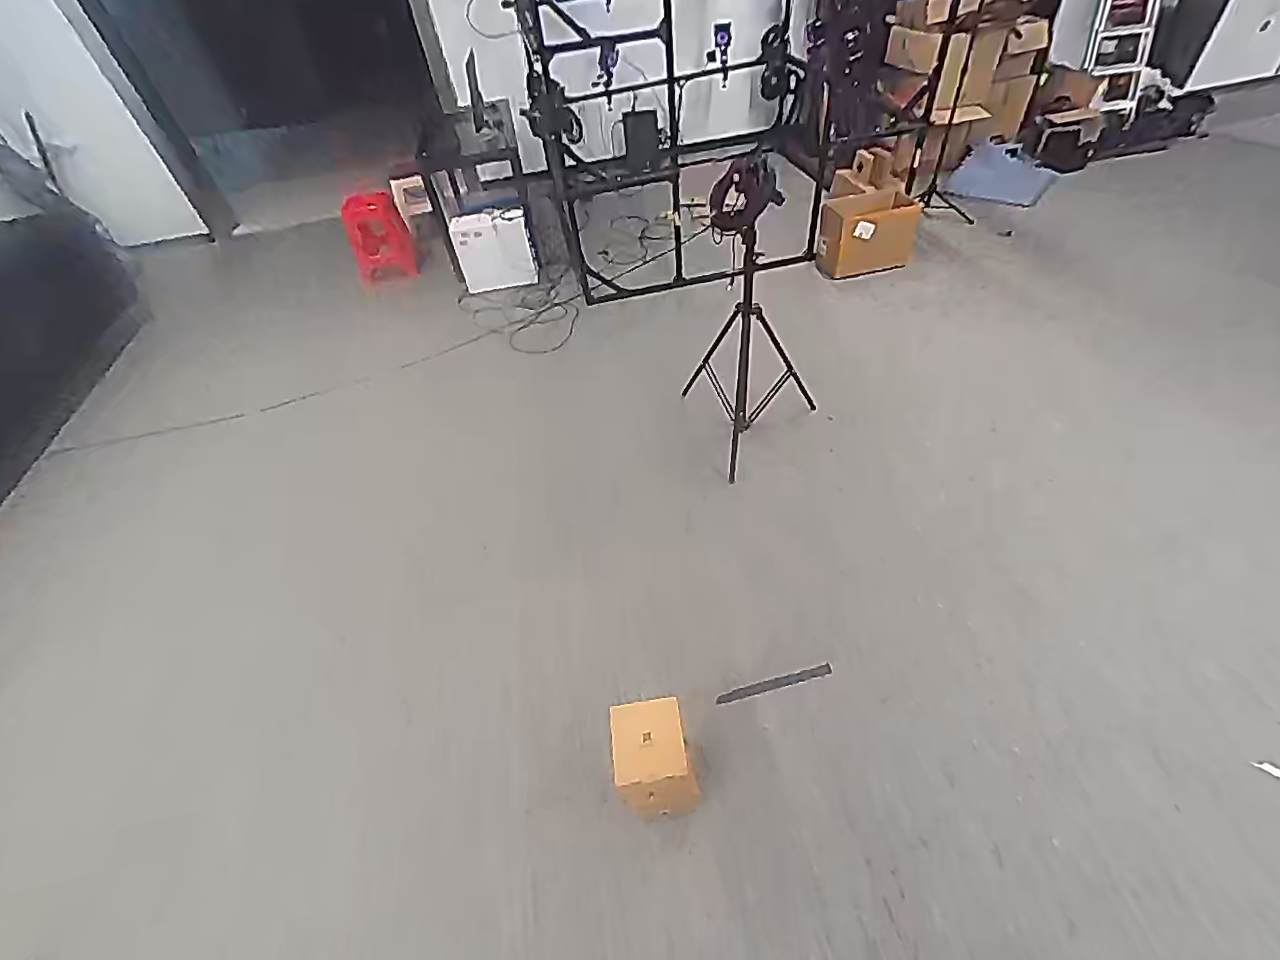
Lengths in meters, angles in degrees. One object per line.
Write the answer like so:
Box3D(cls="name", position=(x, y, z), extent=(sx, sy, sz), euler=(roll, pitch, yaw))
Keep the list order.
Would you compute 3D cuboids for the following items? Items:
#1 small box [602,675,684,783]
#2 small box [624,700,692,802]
Box3D(cls="small box", position=(0.007, 0.584, 1.266), extent=(0.168, 0.176, 0.179), euler=(-10, 48, 0))
Box3D(cls="small box", position=(0.035, 0.694, 1.383), extent=(0.168, 0.176, 0.179), euler=(-11, 47, -2))
